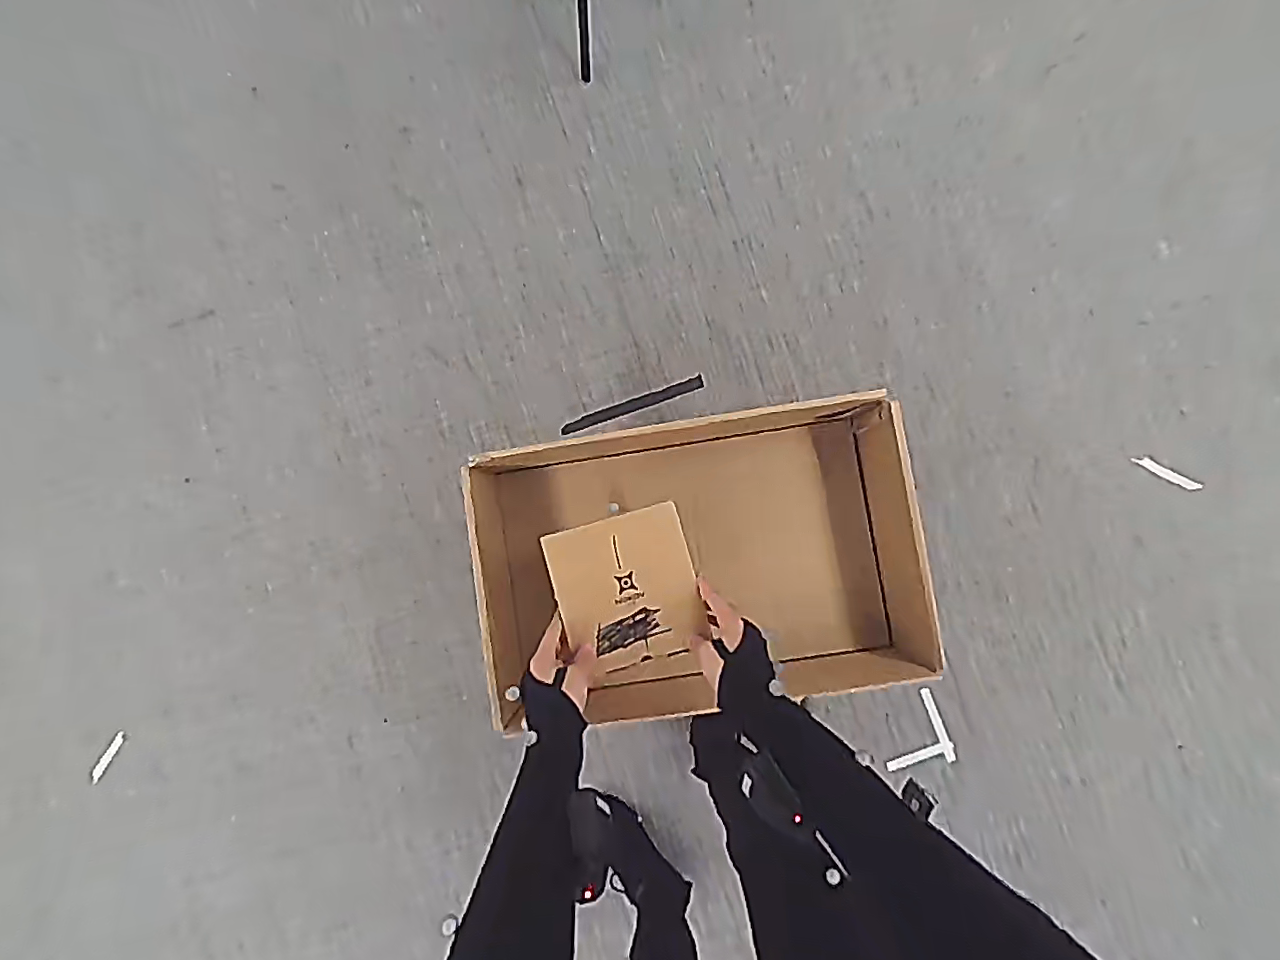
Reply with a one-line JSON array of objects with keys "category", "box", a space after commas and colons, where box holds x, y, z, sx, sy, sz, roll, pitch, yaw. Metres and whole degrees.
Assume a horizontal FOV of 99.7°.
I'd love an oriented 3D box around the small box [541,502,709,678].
[{"category": "small box", "box": [-0.016, 0.132, 0.712, 0.168, 0.176, 0.179, -16, 87, -1]}]
